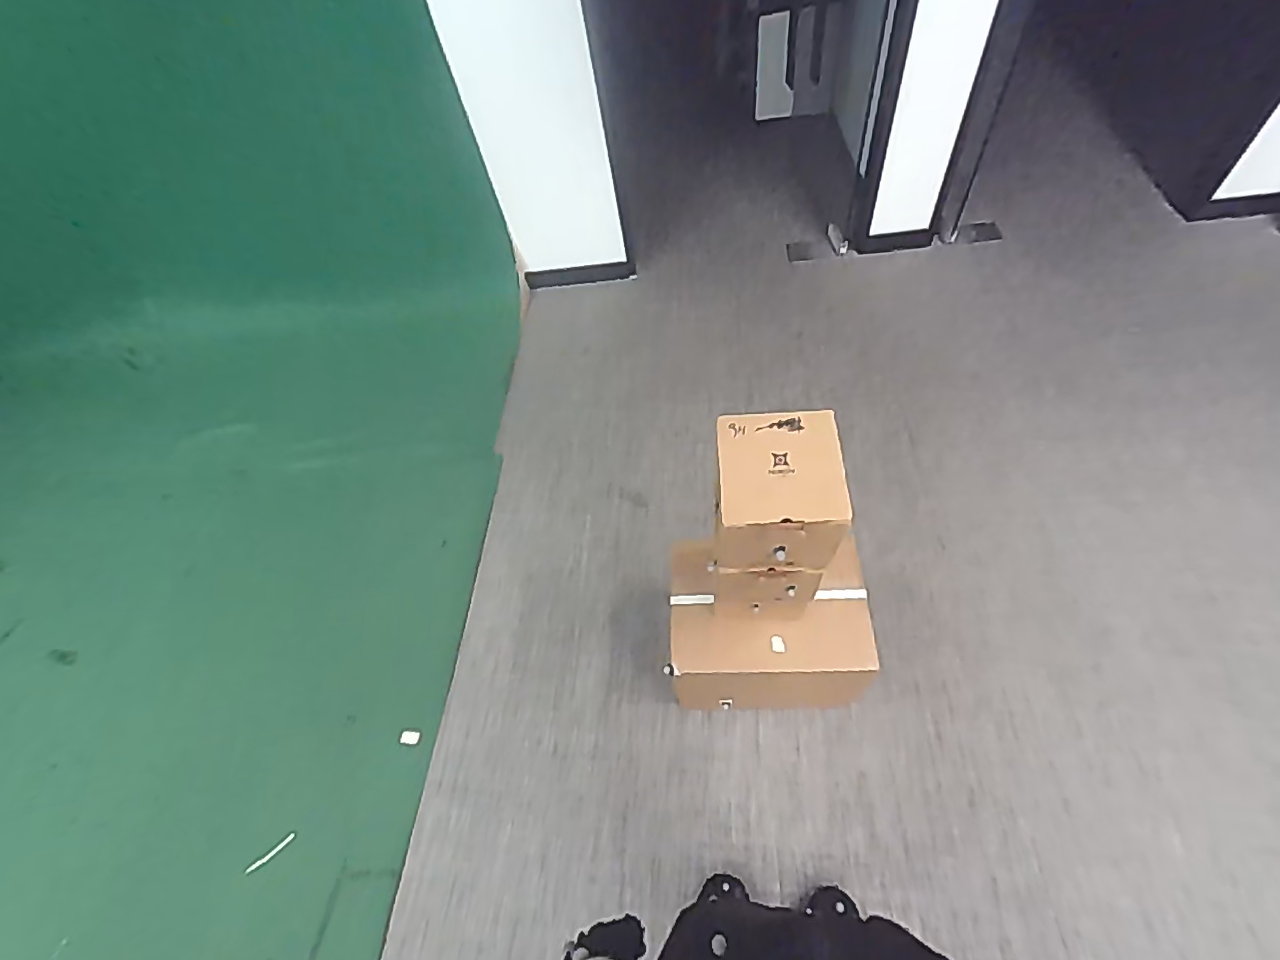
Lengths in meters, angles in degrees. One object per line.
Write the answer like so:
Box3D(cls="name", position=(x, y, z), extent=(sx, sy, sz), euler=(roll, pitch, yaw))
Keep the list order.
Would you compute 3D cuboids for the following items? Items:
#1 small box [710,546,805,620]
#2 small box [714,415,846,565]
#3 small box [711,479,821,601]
Box3D(cls="small box", position=(0.236, 0.175, 1.091), extent=(0.179, 0.176, 0.168), euler=(3, 60, 11))
Box3D(cls="small box", position=(0.198, 0.023, 0.809), extent=(0.168, 0.176, 0.179), euler=(-2, 62, 7))
Box3D(cls="small box", position=(0.213, 0.109, 0.948), extent=(0.168, 0.176, 0.179), euler=(-2, 60, 7))
